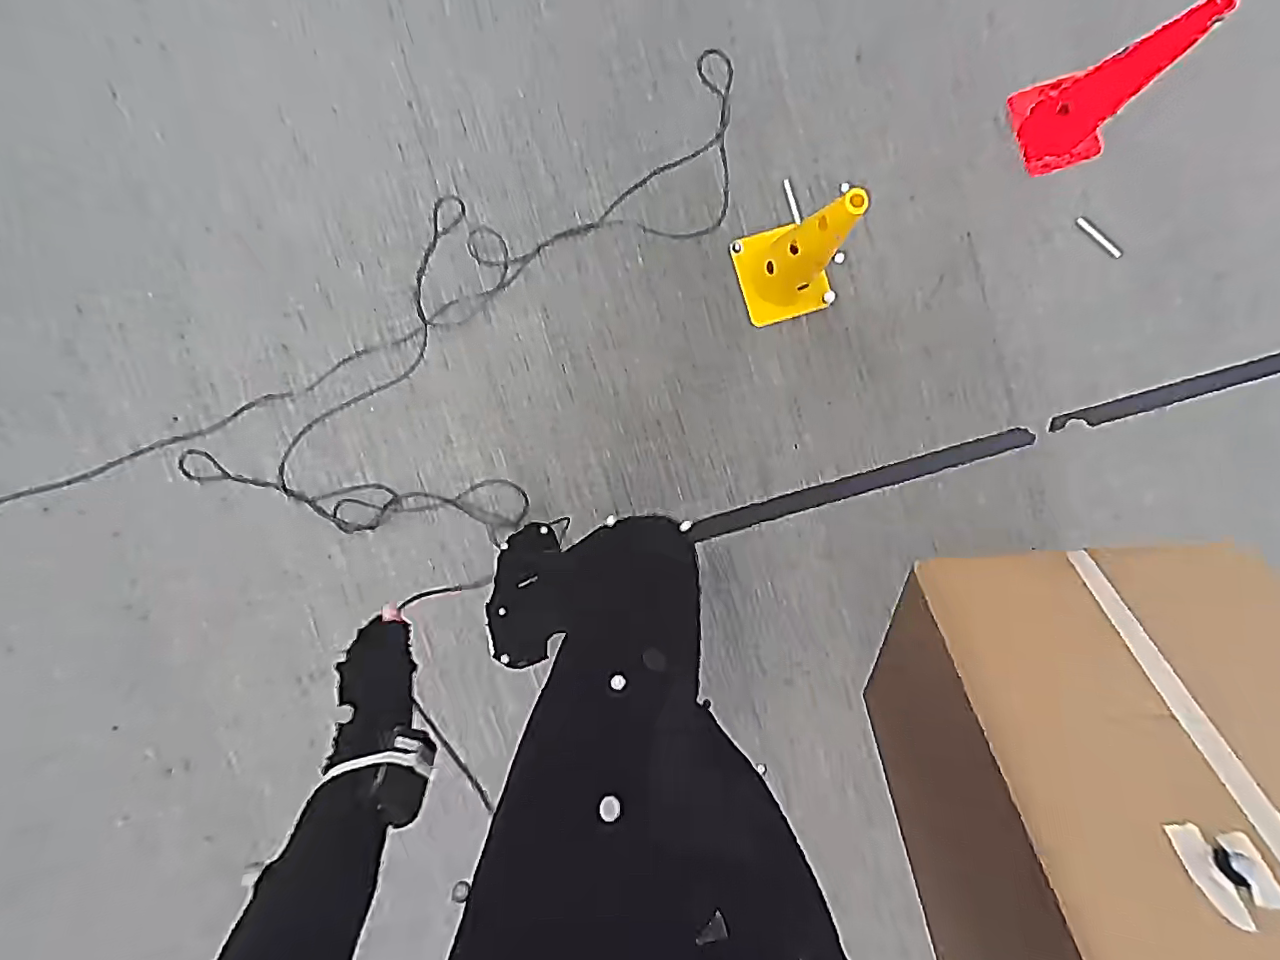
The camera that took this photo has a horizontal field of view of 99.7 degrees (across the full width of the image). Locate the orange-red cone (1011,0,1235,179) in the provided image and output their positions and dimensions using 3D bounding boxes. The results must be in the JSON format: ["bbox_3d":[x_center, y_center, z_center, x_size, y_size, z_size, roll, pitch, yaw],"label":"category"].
[{"bbox_3d":[0.994,-0.818,1.103,0.199,0.360,0.198,-19,92,-2],"label":"orange-red cone"}]
